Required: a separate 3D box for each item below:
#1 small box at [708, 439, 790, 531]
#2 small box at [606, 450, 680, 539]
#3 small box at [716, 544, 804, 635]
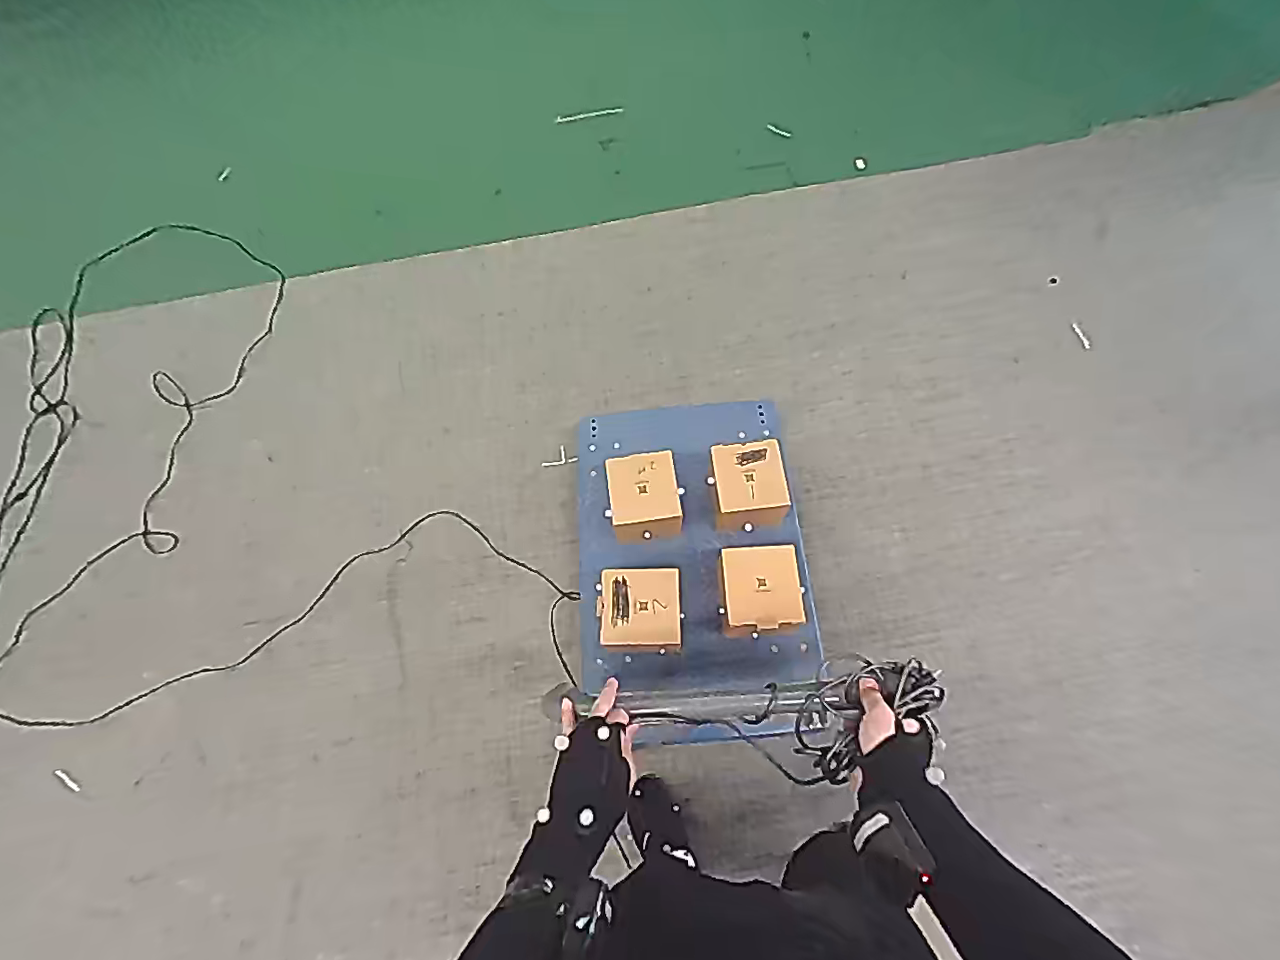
[{"bbox_3d":[0.266,0.016,1.362,0.168,0.176,0.179,-7,68,2],"label":"small box"},{"bbox_3d":[0.010,0.045,1.367,0.168,0.176,0.179,-7,67,0],"label":"small box"},{"bbox_3d":[0.272,0.260,1.263,0.168,0.176,0.179,-3,68,2],"label":"small box"}]
